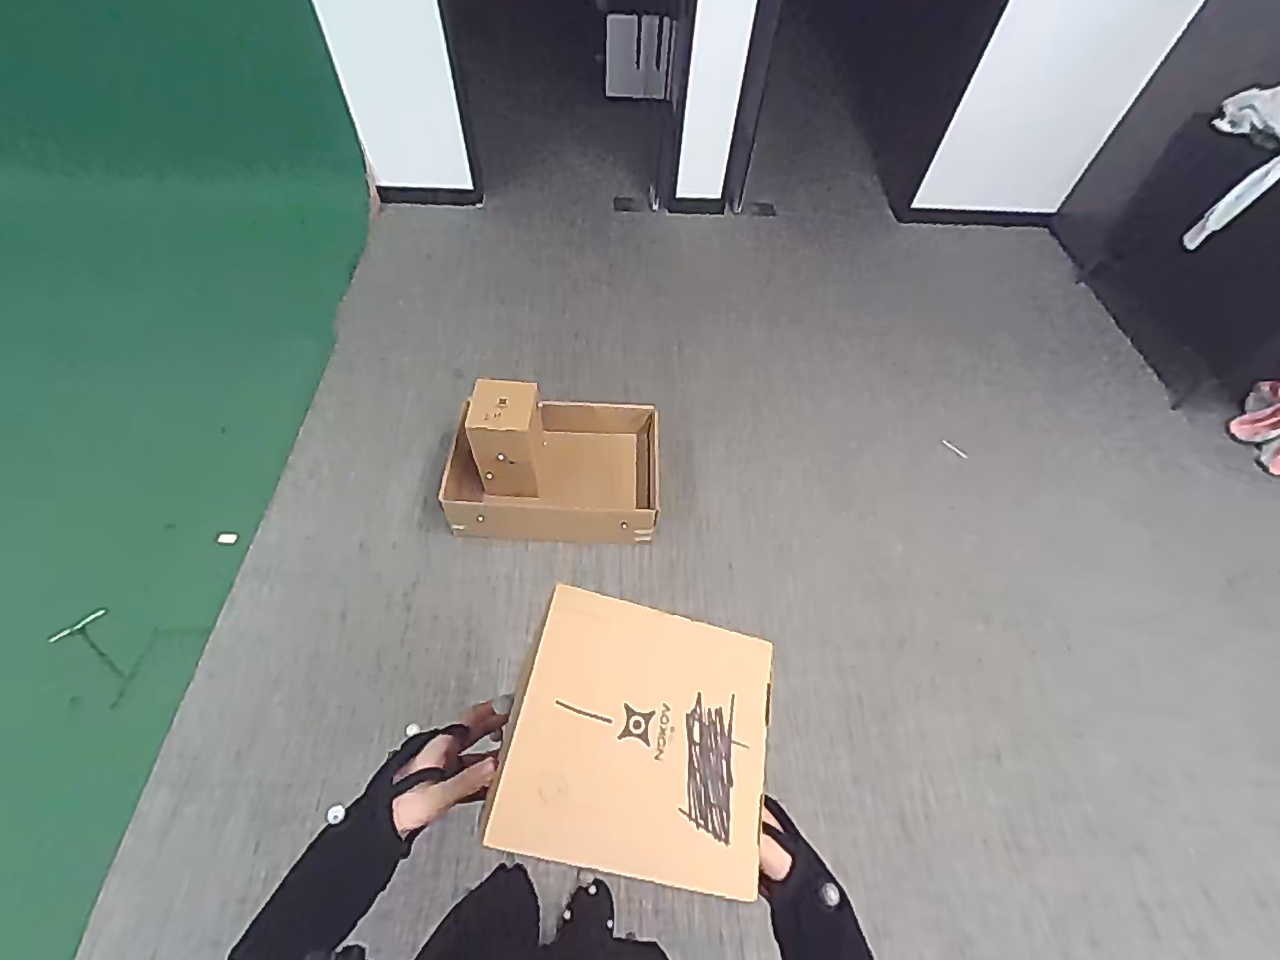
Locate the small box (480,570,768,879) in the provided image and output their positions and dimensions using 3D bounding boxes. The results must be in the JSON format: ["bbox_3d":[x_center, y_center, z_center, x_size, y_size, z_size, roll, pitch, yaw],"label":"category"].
[{"bbox_3d":[-0.018,0.197,0.440,0.179,0.176,0.168,17,57,-6],"label":"small box"}]

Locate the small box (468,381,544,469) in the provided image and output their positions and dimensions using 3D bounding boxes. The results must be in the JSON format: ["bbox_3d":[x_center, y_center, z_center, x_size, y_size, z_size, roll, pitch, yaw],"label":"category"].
[{"bbox_3d":[-0.368,-0.153,1.518,0.168,0.176,0.179,4,56,0],"label":"small box"}]
